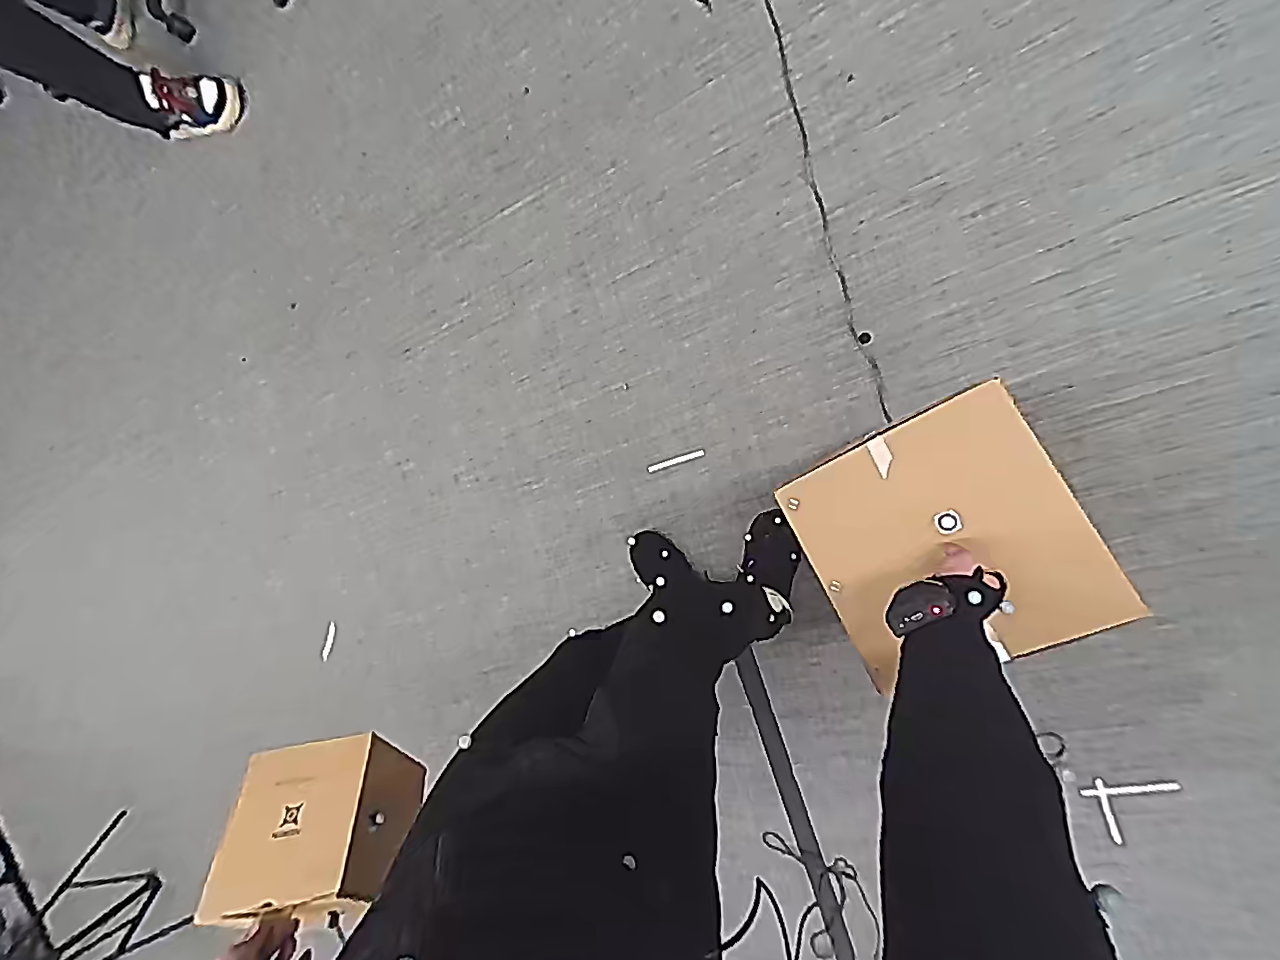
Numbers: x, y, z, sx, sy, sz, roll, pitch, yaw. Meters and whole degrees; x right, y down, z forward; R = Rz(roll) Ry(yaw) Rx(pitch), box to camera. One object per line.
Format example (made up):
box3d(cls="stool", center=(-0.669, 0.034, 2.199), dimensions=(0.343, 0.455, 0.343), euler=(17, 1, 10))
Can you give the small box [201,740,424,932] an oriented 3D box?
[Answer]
box3d(cls="small box", center=(-0.404, 0.470, 0.708), dimensions=(0.168, 0.179, 0.176), euler=(-10, 136, 0))
